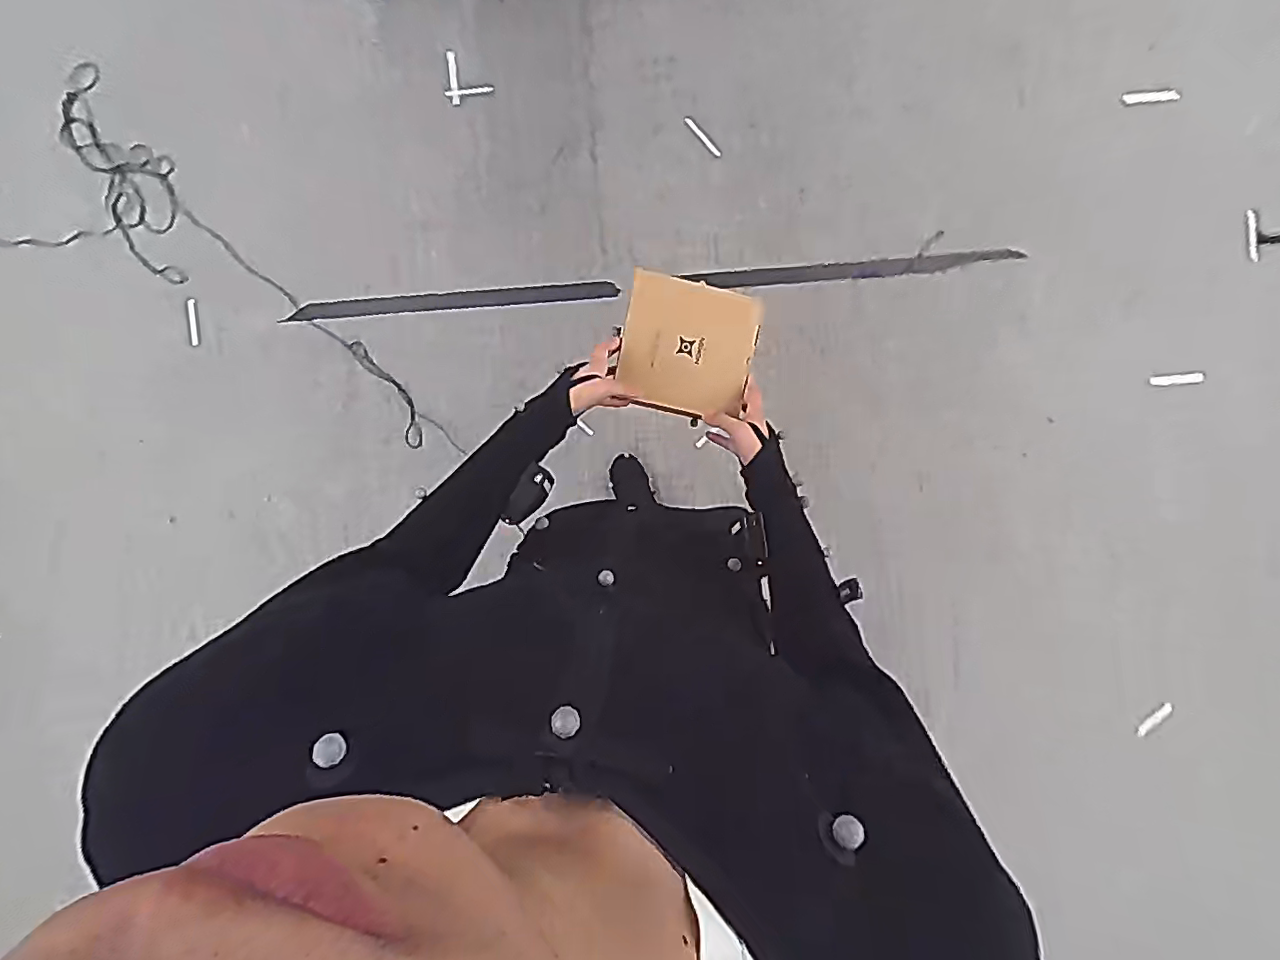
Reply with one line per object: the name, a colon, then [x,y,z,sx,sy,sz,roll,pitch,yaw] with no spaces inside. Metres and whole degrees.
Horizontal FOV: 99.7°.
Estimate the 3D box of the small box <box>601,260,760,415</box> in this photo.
small box: [0.046,-0.192,0.775,0.179,0.176,0.168,11,95,-7]
